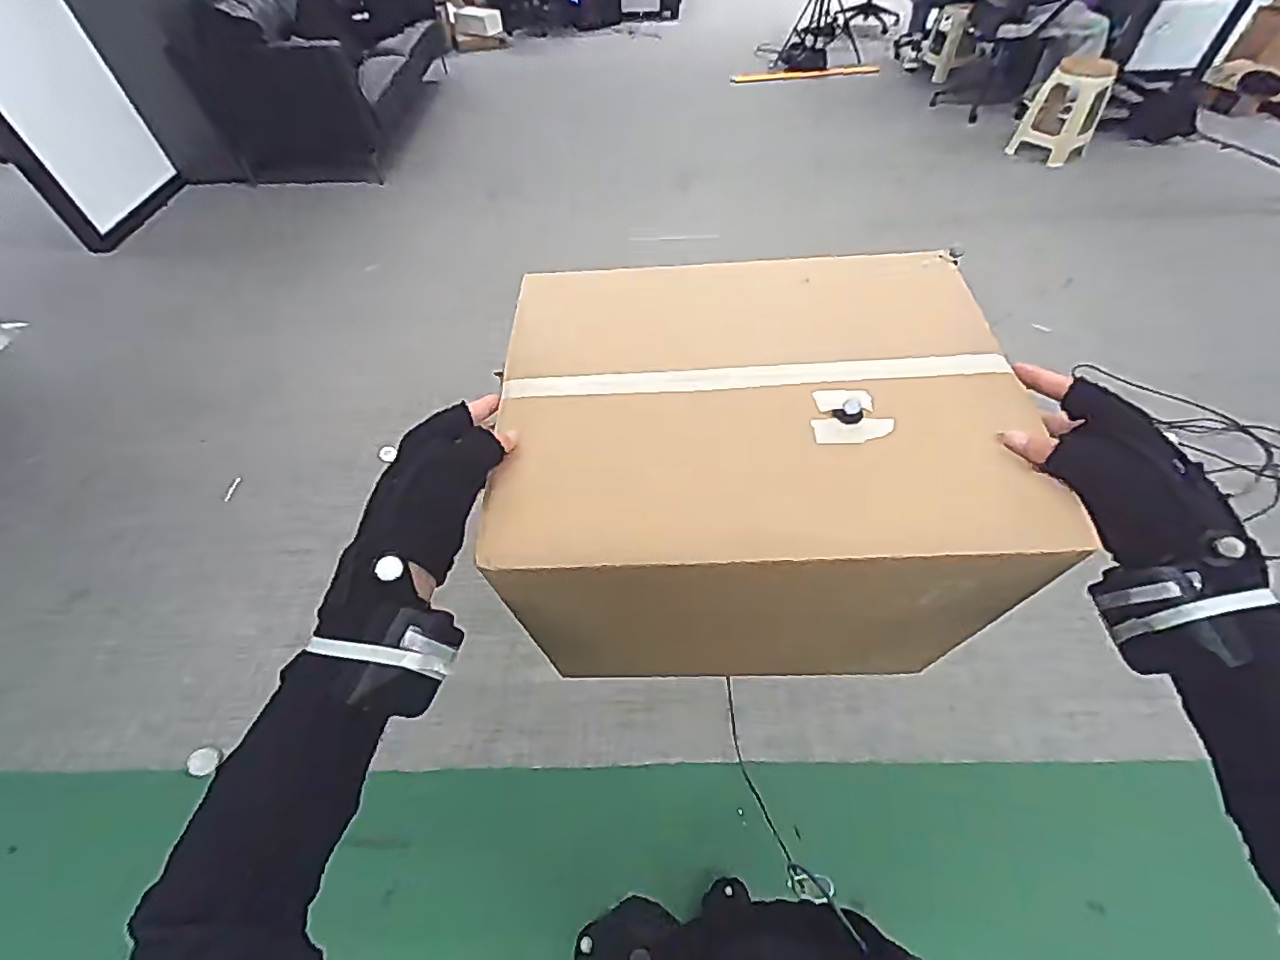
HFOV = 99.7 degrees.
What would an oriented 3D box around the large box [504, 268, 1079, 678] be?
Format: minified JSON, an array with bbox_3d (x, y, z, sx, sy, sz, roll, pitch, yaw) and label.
[{"bbox_3d":[0.104,0.010,0.574,0.408,0.320,0.320,-2,57,2],"label":"large box"}]
